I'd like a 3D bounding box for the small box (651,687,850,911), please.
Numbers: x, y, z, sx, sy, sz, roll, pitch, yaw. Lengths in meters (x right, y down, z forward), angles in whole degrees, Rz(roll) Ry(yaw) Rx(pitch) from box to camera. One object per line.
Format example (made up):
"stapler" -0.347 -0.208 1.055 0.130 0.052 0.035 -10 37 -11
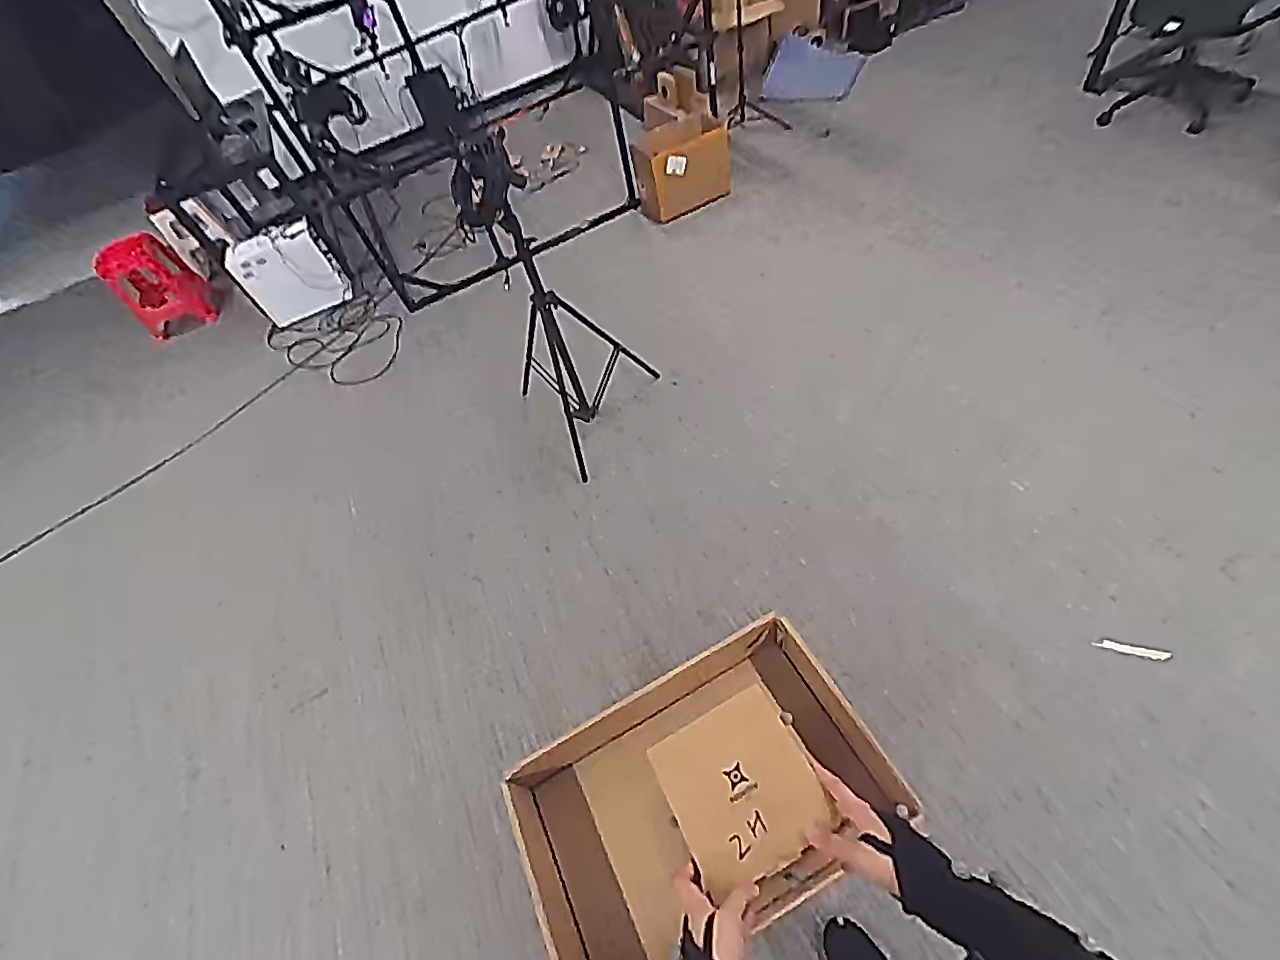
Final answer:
"small box" 0.135 0.399 0.674 0.168 0.176 0.179 -29 49 -6
